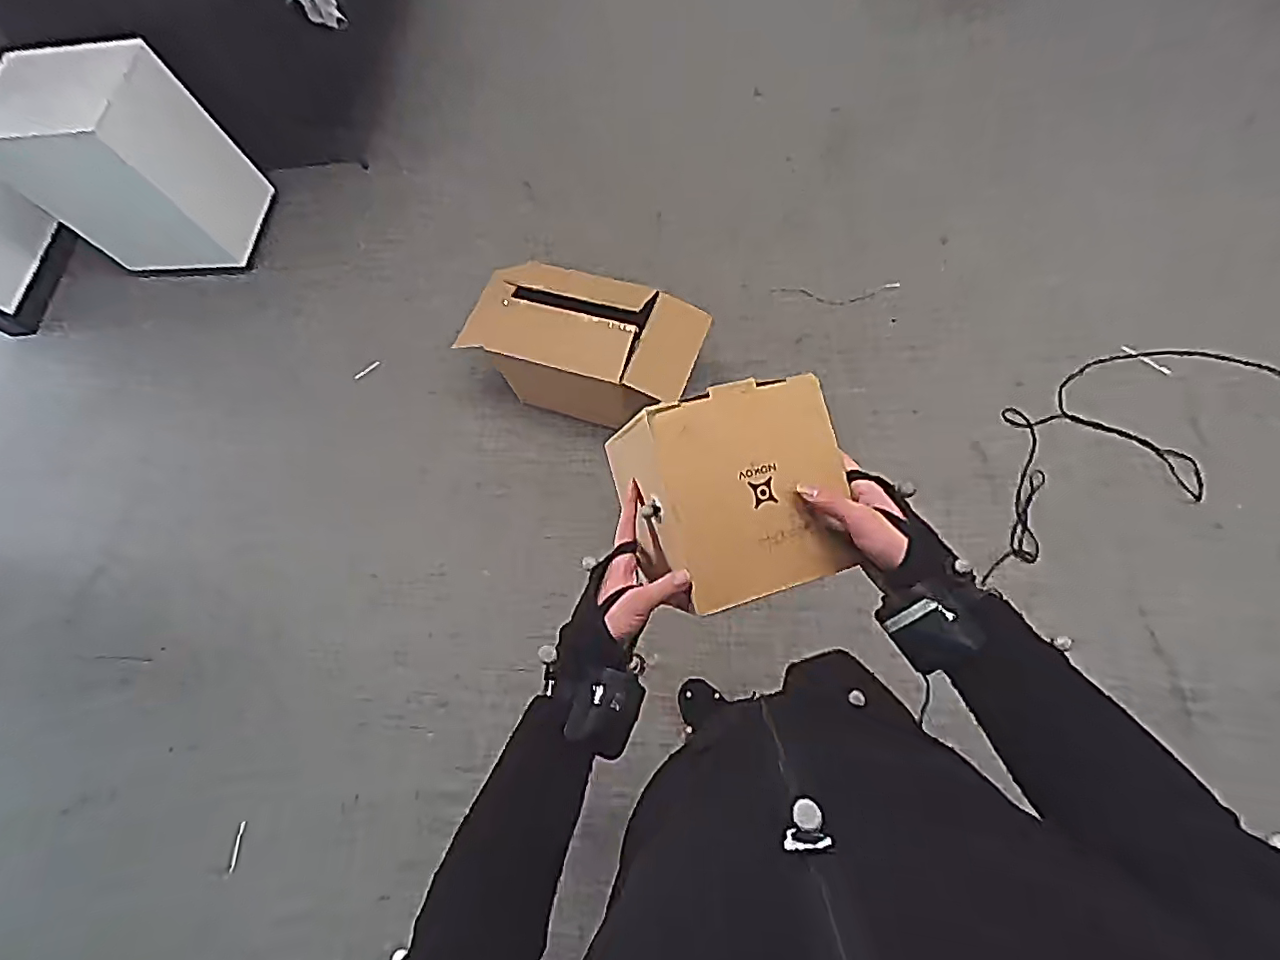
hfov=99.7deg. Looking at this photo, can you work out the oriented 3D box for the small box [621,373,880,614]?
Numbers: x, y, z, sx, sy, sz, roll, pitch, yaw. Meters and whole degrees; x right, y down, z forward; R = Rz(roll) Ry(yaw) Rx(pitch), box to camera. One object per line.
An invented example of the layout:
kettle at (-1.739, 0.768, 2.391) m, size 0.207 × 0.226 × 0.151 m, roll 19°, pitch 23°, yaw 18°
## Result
small box at (0.087, 0.017, 0.514) m, size 0.168 × 0.176 × 0.179 m, roll -11°, pitch 85°, yaw -14°
